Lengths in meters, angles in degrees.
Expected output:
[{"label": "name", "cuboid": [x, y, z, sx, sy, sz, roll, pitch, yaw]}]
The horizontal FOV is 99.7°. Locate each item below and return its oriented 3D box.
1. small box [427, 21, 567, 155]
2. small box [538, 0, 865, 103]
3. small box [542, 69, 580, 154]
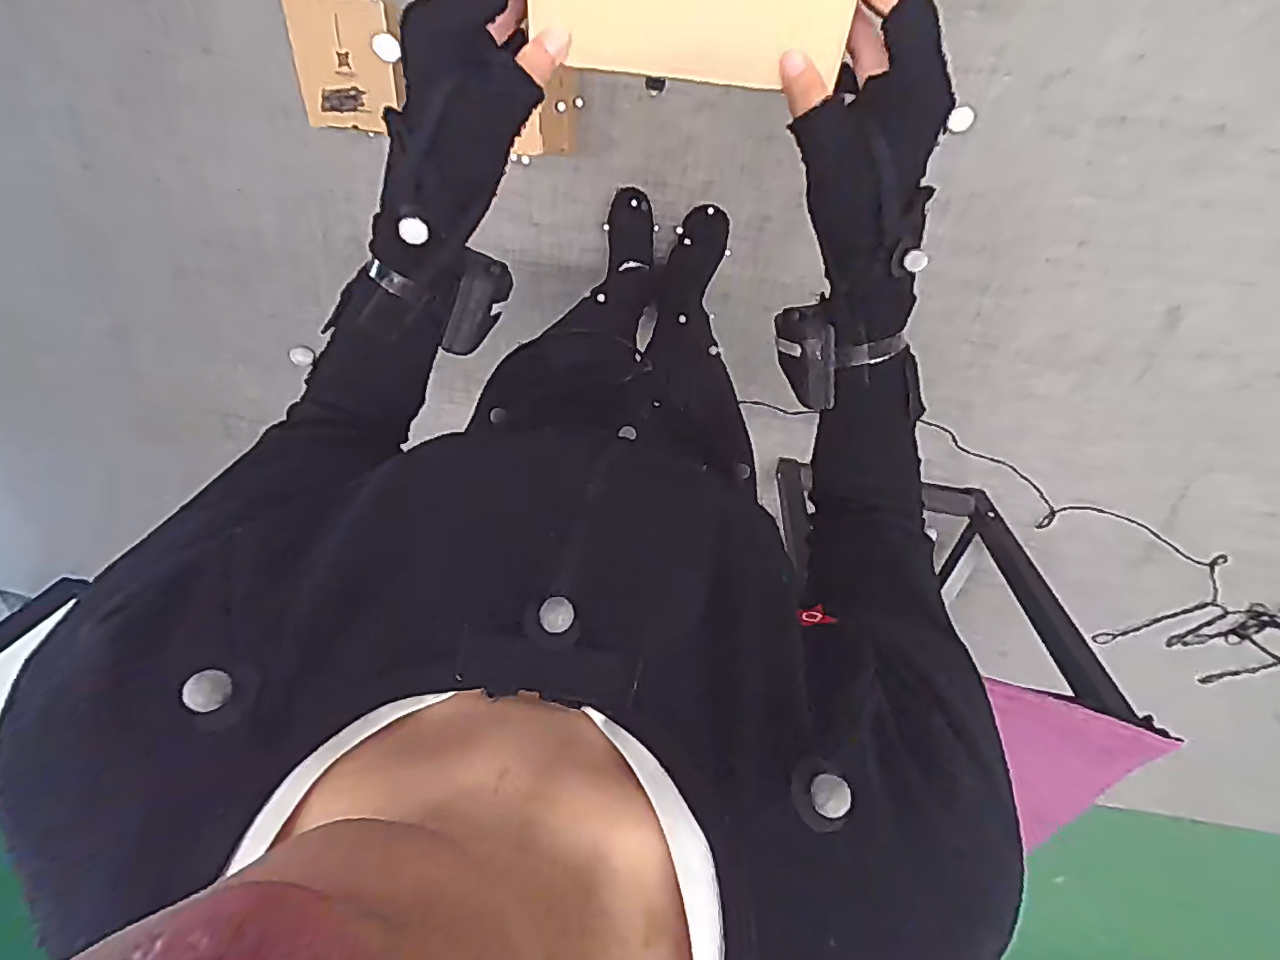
[{"label": "small box", "cuboid": [-0.230, -0.657, 0.917, 0.179, 0.176, 0.168, 6, 125, 4]}, {"label": "small box", "cuboid": [0.039, -0.331, 0.298, 0.168, 0.176, 0.179, 7, 131, 0]}, {"label": "small box", "cuboid": [-0.215, -0.746, 1.054, 0.168, 0.176, 0.179, 7, 124, 4]}]
